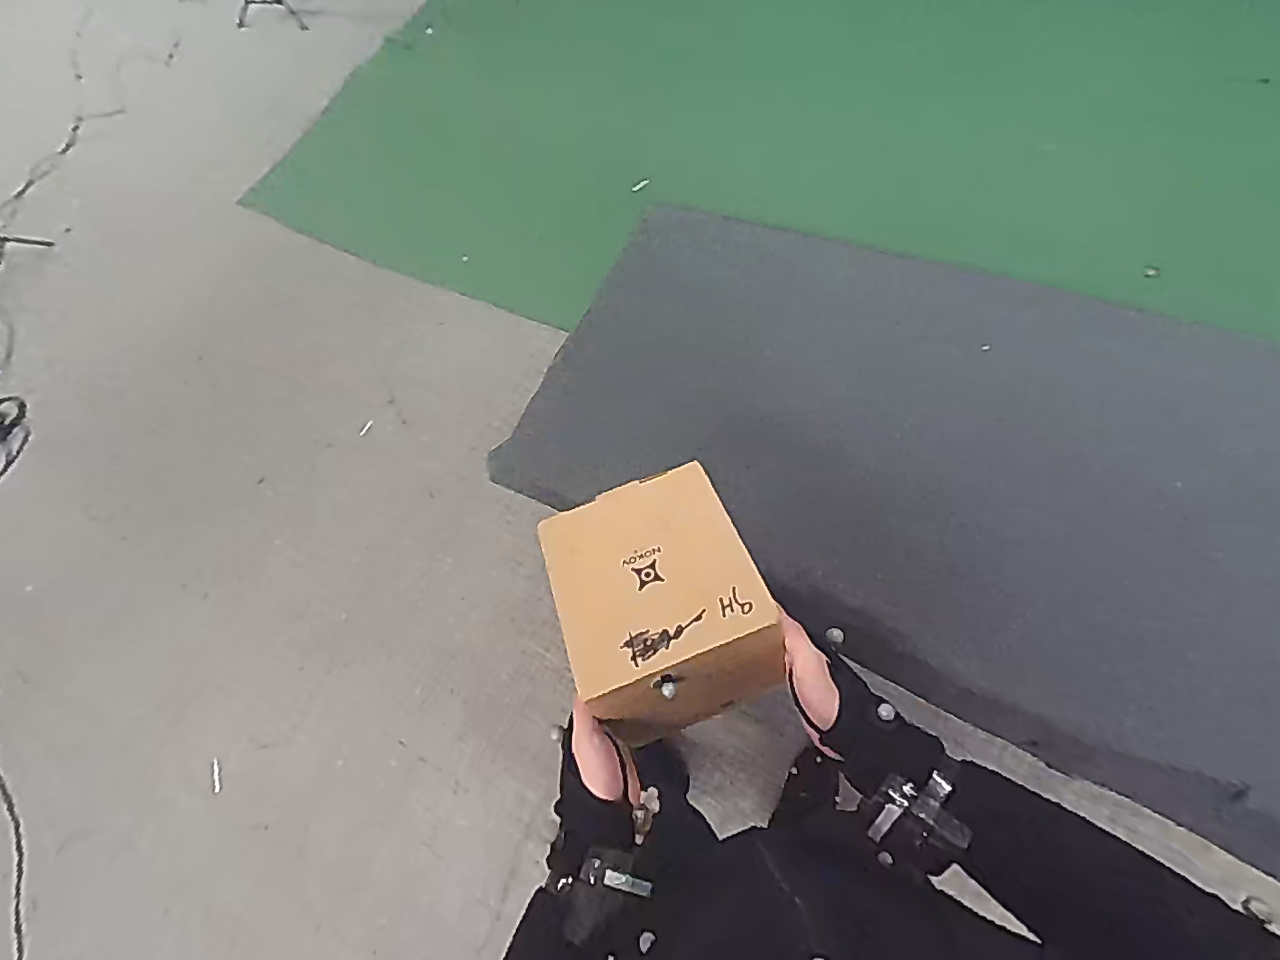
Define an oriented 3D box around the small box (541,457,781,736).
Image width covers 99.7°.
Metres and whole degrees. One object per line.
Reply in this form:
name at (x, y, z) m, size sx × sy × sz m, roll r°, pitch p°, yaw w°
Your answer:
small box at (0.023, 0.114, 0.516) m, size 0.168 × 0.176 × 0.179 m, roll -22°, pitch 51°, yaw 1°
